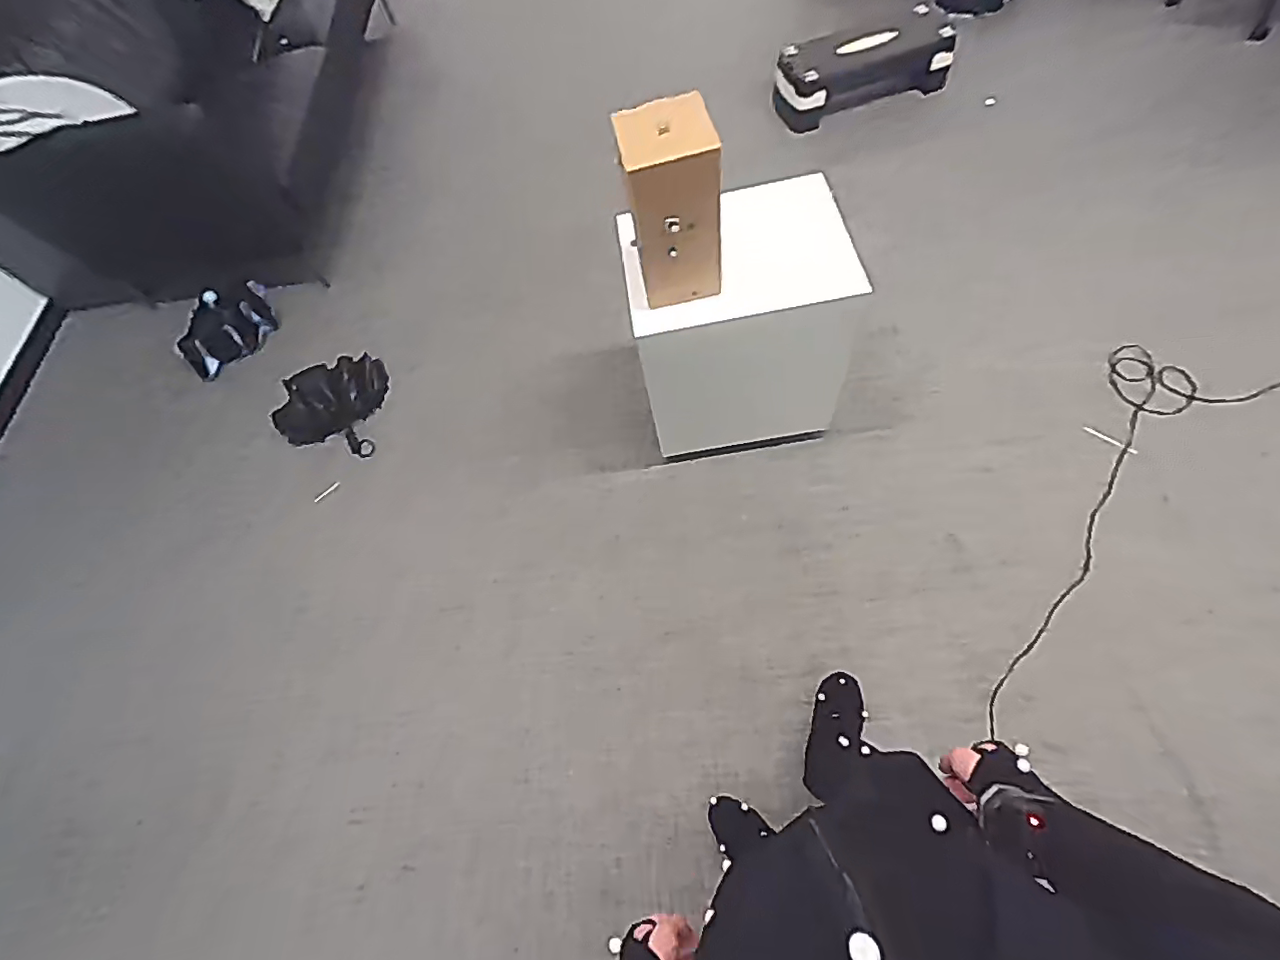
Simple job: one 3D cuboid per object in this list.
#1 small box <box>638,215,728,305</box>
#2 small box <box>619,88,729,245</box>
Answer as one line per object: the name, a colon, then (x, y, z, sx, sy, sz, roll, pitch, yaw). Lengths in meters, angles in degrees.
small box: (0.089, -0.507, 1.153, 0.168, 0.176, 0.179, -11, 62, 4)
small box: (0.065, -0.576, 1.007, 0.168, 0.176, 0.179, -14, 64, 4)
